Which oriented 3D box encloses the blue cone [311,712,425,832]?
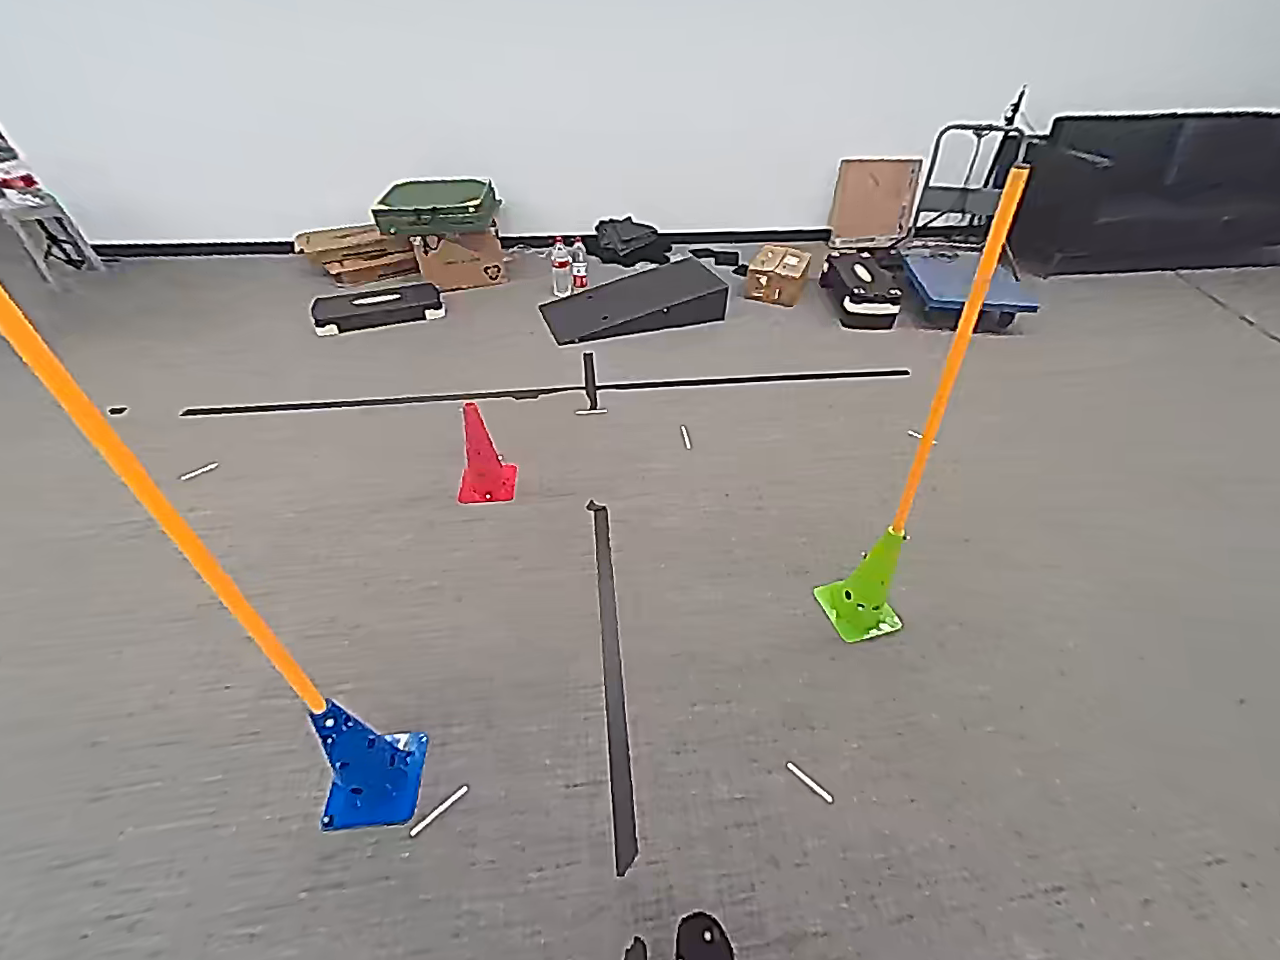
[{"bbox_3d":[-0.605,0.584,1.149,0.193,0.380,0.192,-2,42,-3],"label":"blue cone"}]

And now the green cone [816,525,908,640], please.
[{"bbox_3d":[0.666,0.259,1.525,0.200,0.368,0.202,-11,45,-13],"label":"green cone"}]
